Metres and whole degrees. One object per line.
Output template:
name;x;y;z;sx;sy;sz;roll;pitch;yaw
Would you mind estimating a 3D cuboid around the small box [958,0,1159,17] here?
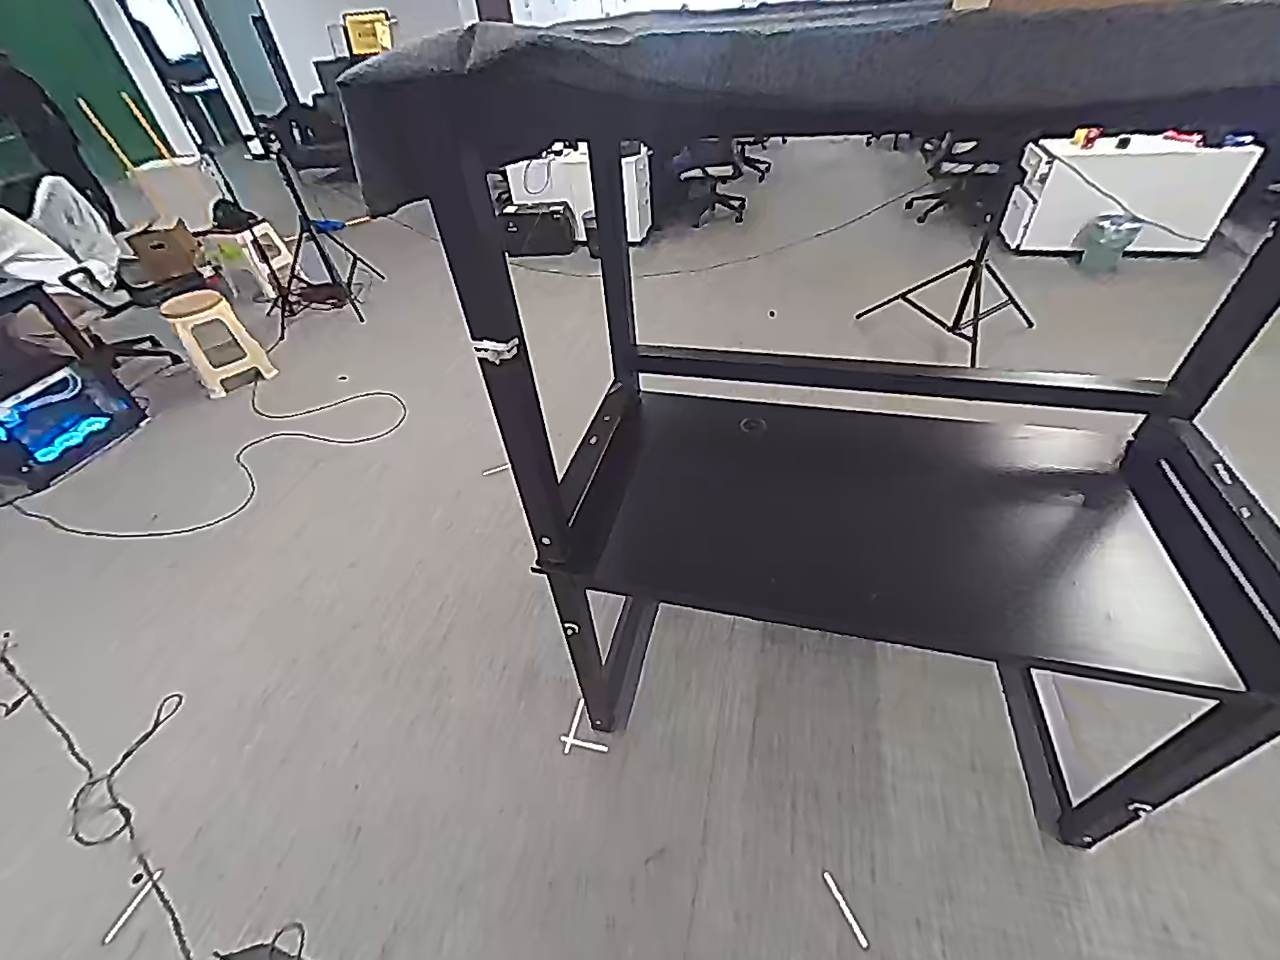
small box;0.382;-0.494;0.437;0.168;0.176;0.179;7;41;13
